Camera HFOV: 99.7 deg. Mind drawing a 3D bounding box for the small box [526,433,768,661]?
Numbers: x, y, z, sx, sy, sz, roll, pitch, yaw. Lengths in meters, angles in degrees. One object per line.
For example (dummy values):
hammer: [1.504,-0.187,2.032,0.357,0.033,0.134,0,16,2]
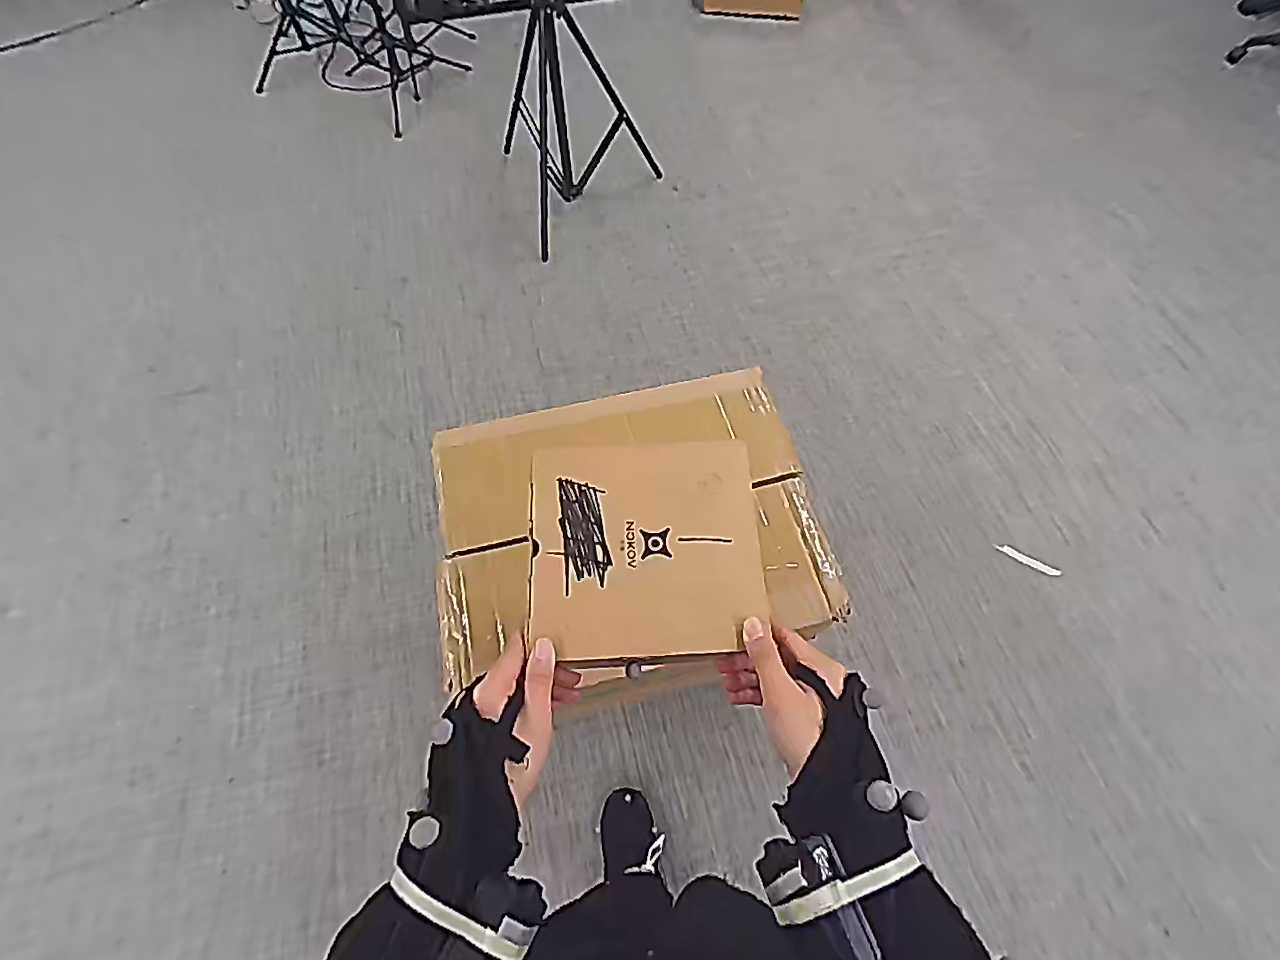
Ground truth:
small box: [0.002,0.070,0.486,0.179,0.176,0.168,-3,69,-2]
